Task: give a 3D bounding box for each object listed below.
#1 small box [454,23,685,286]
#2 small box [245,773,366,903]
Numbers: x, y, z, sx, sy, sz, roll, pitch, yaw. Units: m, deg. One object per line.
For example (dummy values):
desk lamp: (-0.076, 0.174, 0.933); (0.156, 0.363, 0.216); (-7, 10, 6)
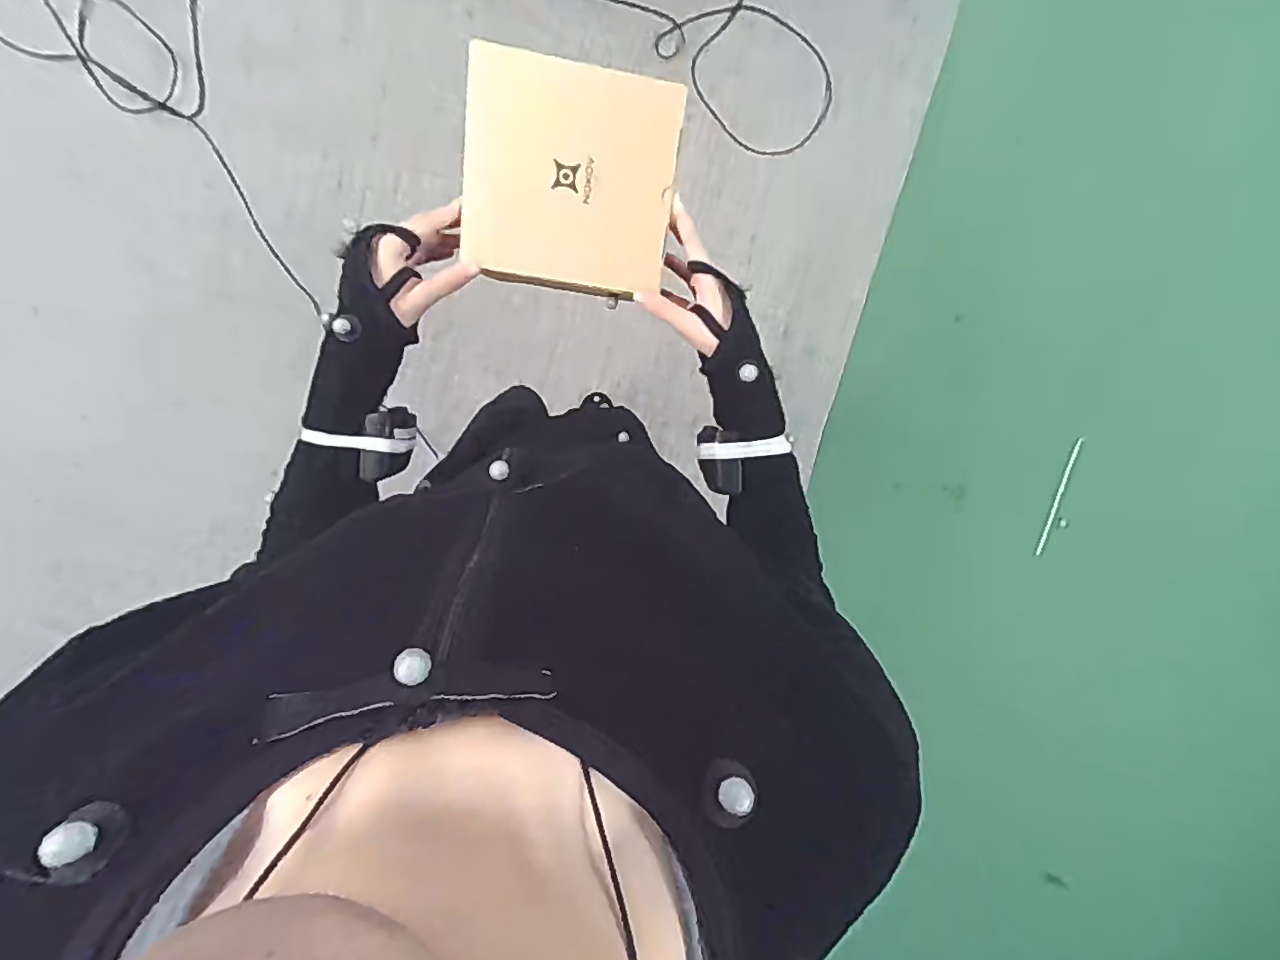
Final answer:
small box: (-0.068, -0.286, 0.521); (0.179, 0.176, 0.168); (6, 106, -9)
small box: (-0.760, 0.817, 1.249); (0.168, 0.176, 0.179); (18, 96, -8)
